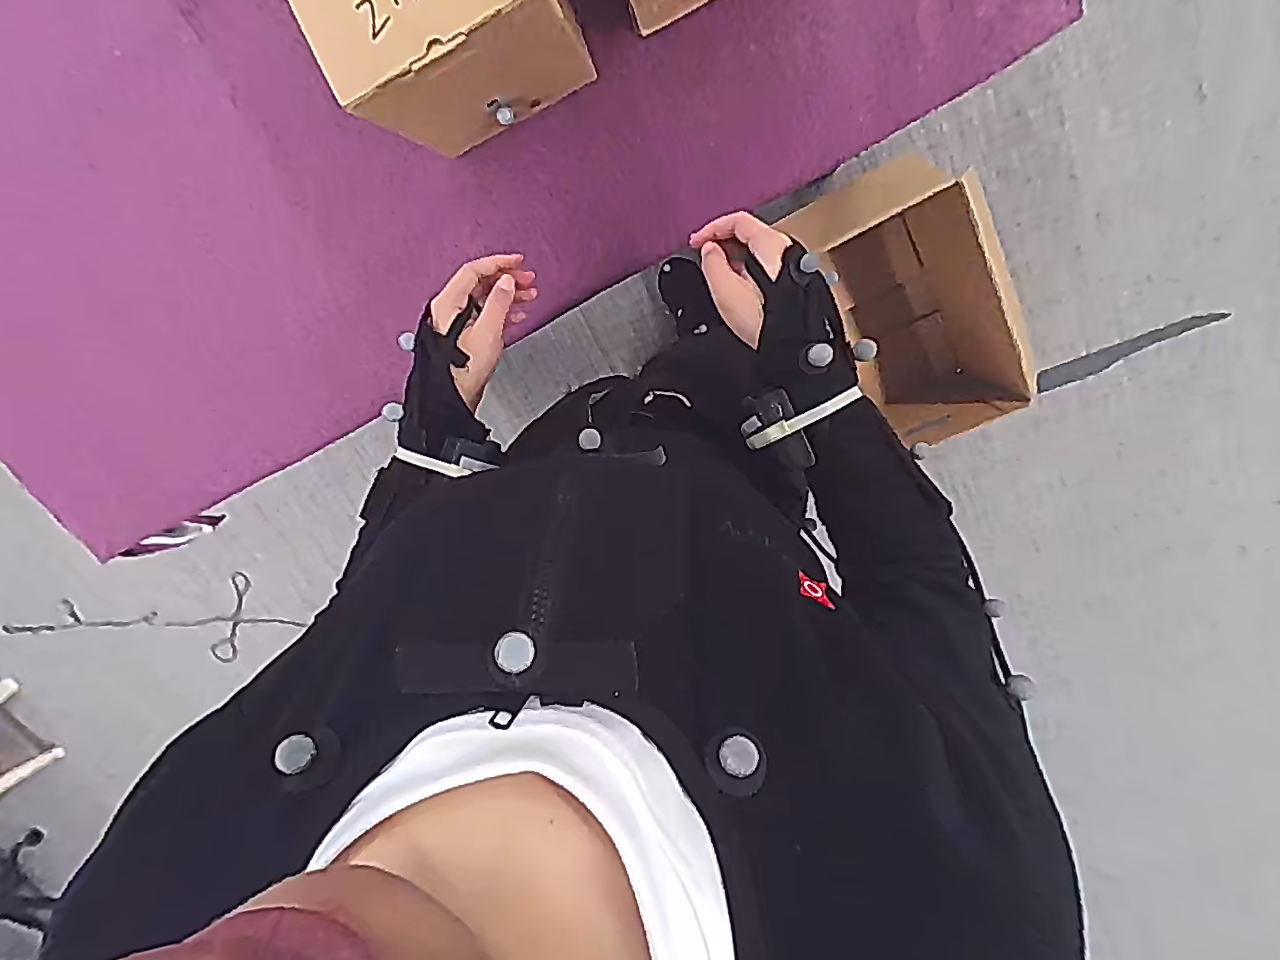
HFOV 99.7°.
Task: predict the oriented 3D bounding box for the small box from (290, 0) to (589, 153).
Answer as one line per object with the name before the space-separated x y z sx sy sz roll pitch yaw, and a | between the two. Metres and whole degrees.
small box | -0.158 -0.393 0.418 0.168 0.176 0.179 -19 106 15
